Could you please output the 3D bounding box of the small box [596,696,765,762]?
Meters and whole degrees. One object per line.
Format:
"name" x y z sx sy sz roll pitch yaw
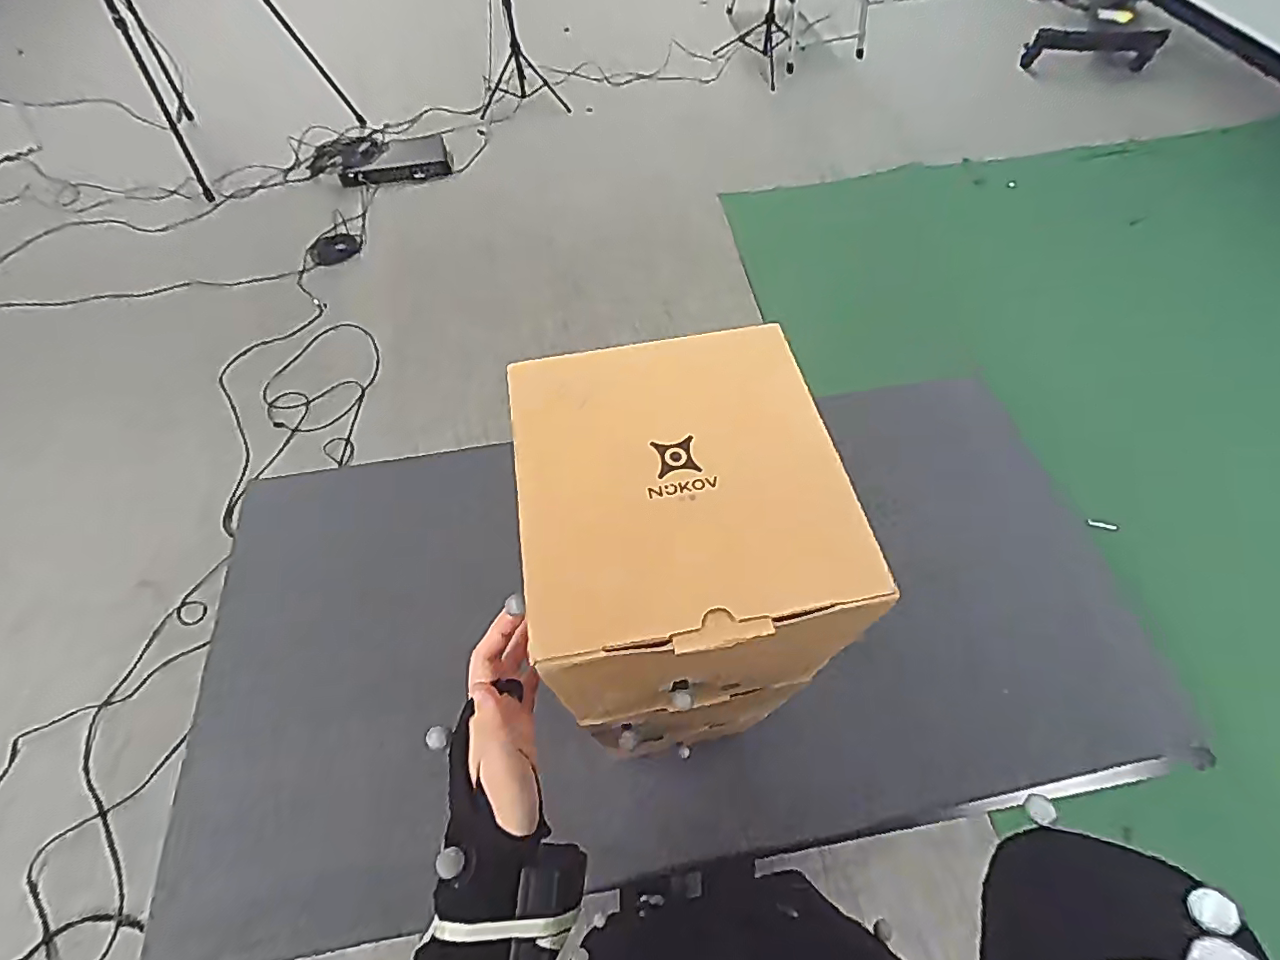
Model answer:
"small box" 0.027 0.212 0.626 0.168 0.176 0.179 -10 60 -4

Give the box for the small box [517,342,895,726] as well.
"small box" 0.021 0.041 0.348 0.168 0.176 0.179 -9 59 -5
